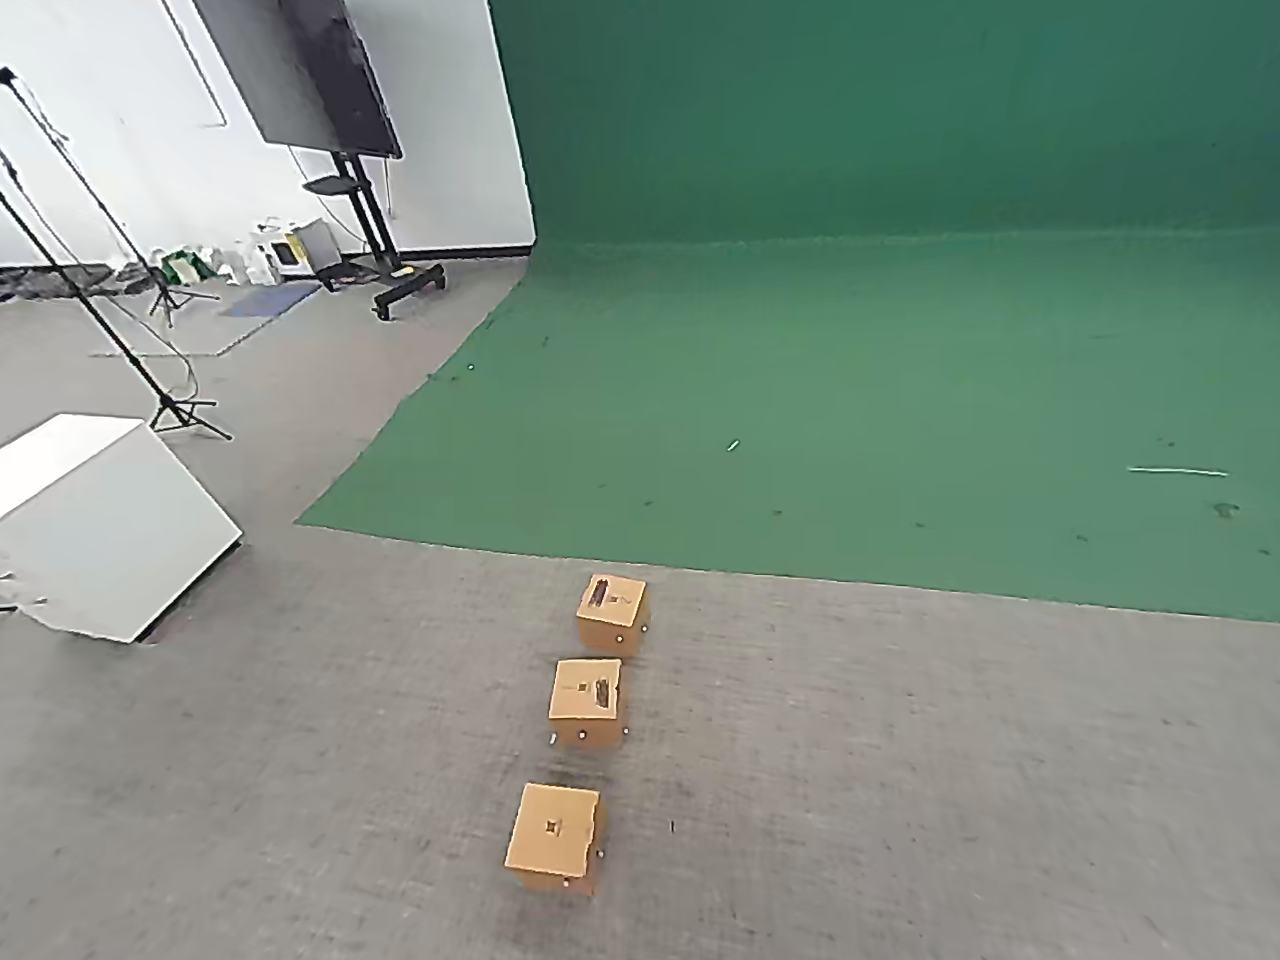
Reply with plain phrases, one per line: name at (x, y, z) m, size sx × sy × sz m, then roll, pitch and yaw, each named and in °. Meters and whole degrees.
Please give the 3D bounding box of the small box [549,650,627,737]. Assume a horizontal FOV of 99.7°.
small box at (-0.134, 0.582, 1.470) m, size 0.179 × 0.176 × 0.168 m, roll -2°, pitch 42°, yaw 6°

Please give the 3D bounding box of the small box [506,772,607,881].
small box at (-0.182, 0.796, 1.240) m, size 0.179 × 0.176 × 0.168 m, roll 2°, pitch 43°, yaw 9°
